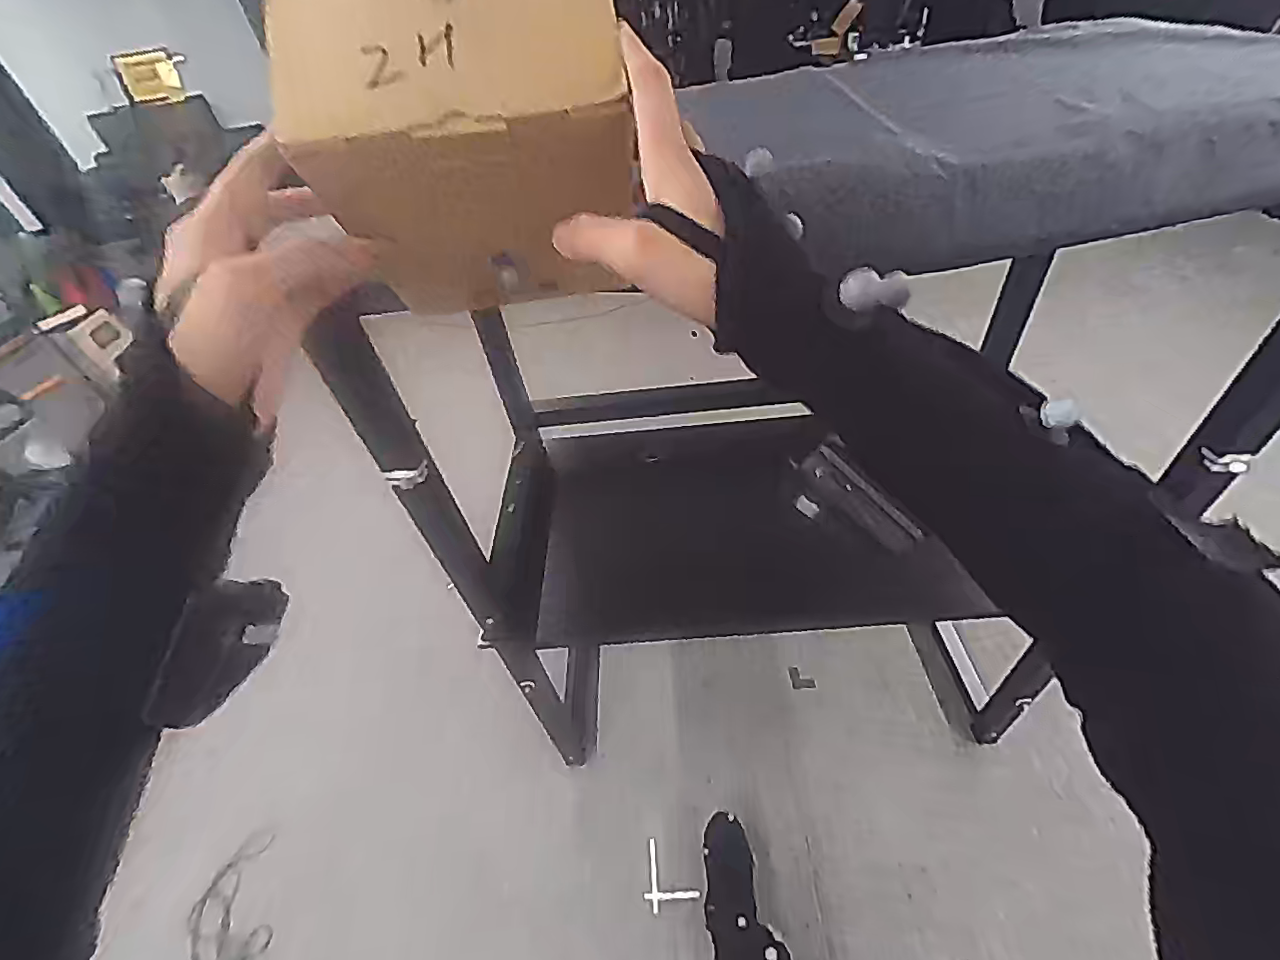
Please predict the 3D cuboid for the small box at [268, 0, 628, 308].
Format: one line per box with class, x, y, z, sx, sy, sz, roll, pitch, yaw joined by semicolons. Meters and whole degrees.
small box;-0.101;-0.236;0.345;0.168;0.176;0.179;-9;80;-3
